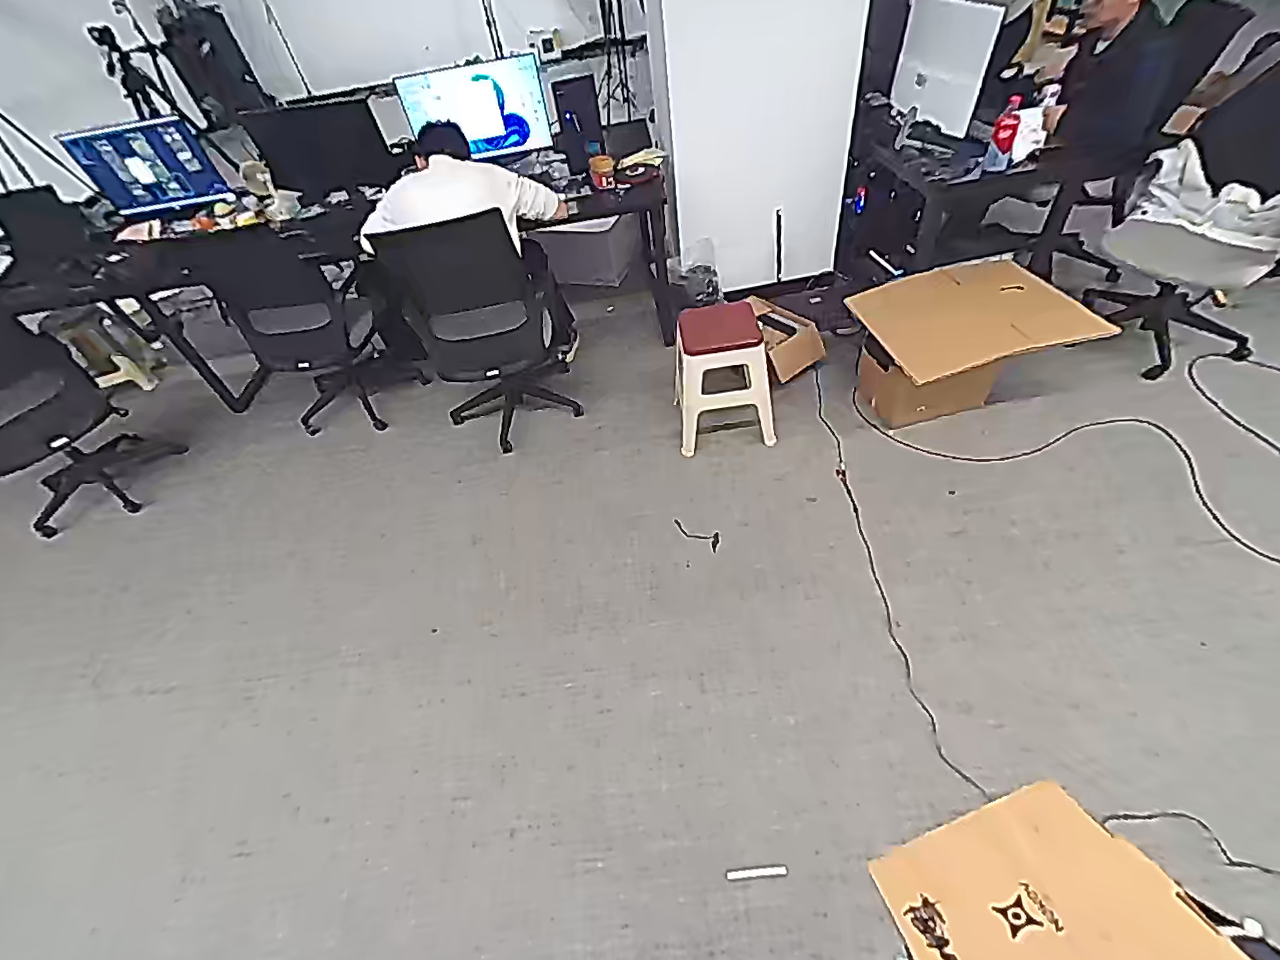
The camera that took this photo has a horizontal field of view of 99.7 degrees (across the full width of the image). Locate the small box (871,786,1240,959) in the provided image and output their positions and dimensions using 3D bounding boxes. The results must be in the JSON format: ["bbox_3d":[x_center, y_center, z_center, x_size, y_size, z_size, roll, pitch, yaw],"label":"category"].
[{"bbox_3d":[0.314,0.384,0.404,0.179,0.176,0.168,-26,9,2],"label":"small box"}]
